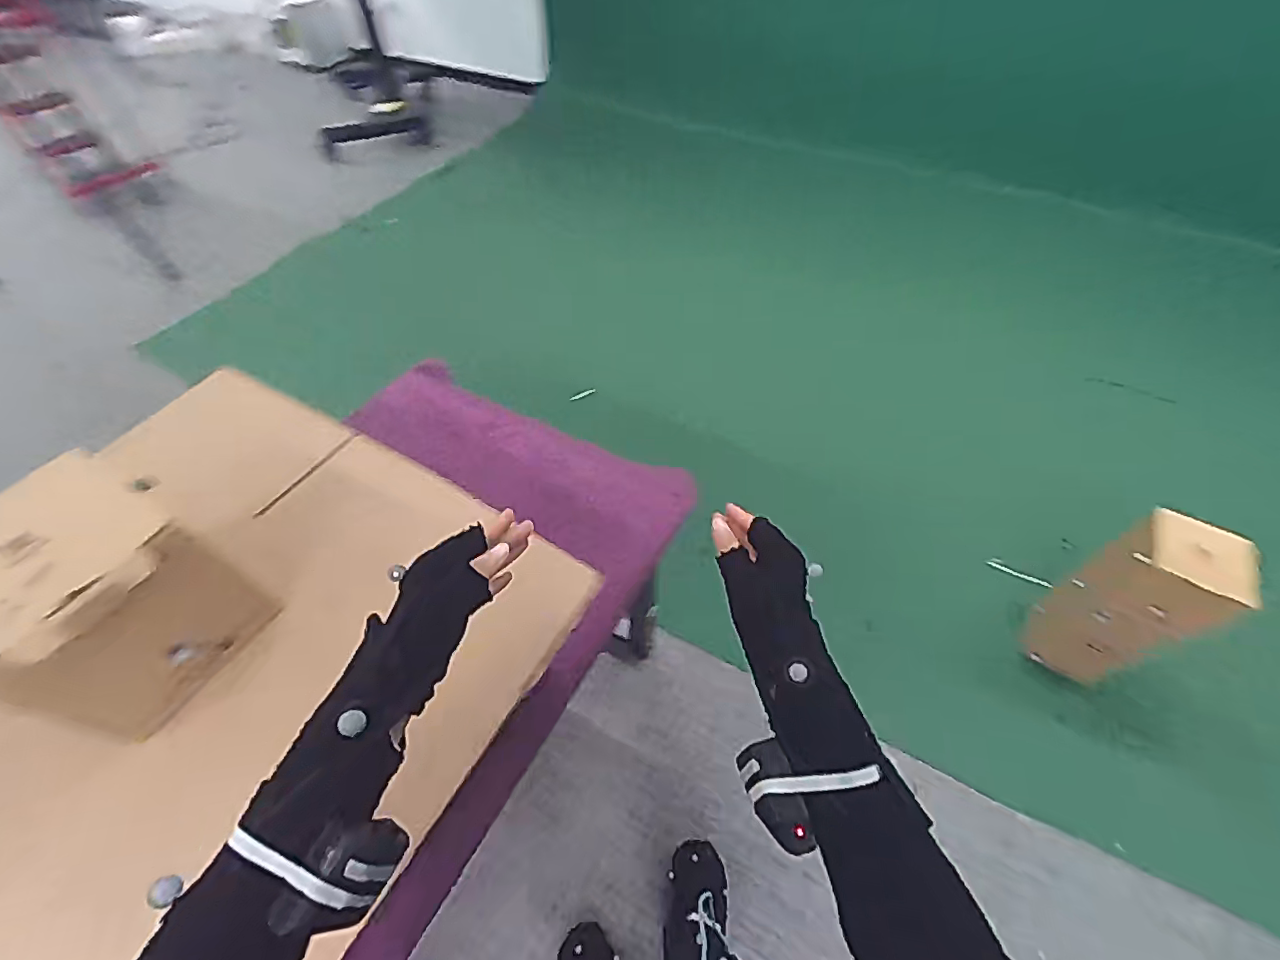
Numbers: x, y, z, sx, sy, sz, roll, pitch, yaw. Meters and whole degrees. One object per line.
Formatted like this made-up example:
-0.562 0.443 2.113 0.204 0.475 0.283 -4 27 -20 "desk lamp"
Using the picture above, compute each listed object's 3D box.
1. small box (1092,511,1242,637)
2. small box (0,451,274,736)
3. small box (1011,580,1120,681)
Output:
1.127 0.206 1.171 0.168 0.176 0.179 26 57 16 "small box"
-0.502 0.109 0.504 0.179 0.176 0.168 25 57 19 "small box"
1.120 0.405 1.432 0.168 0.176 0.179 24 58 16 "small box"
